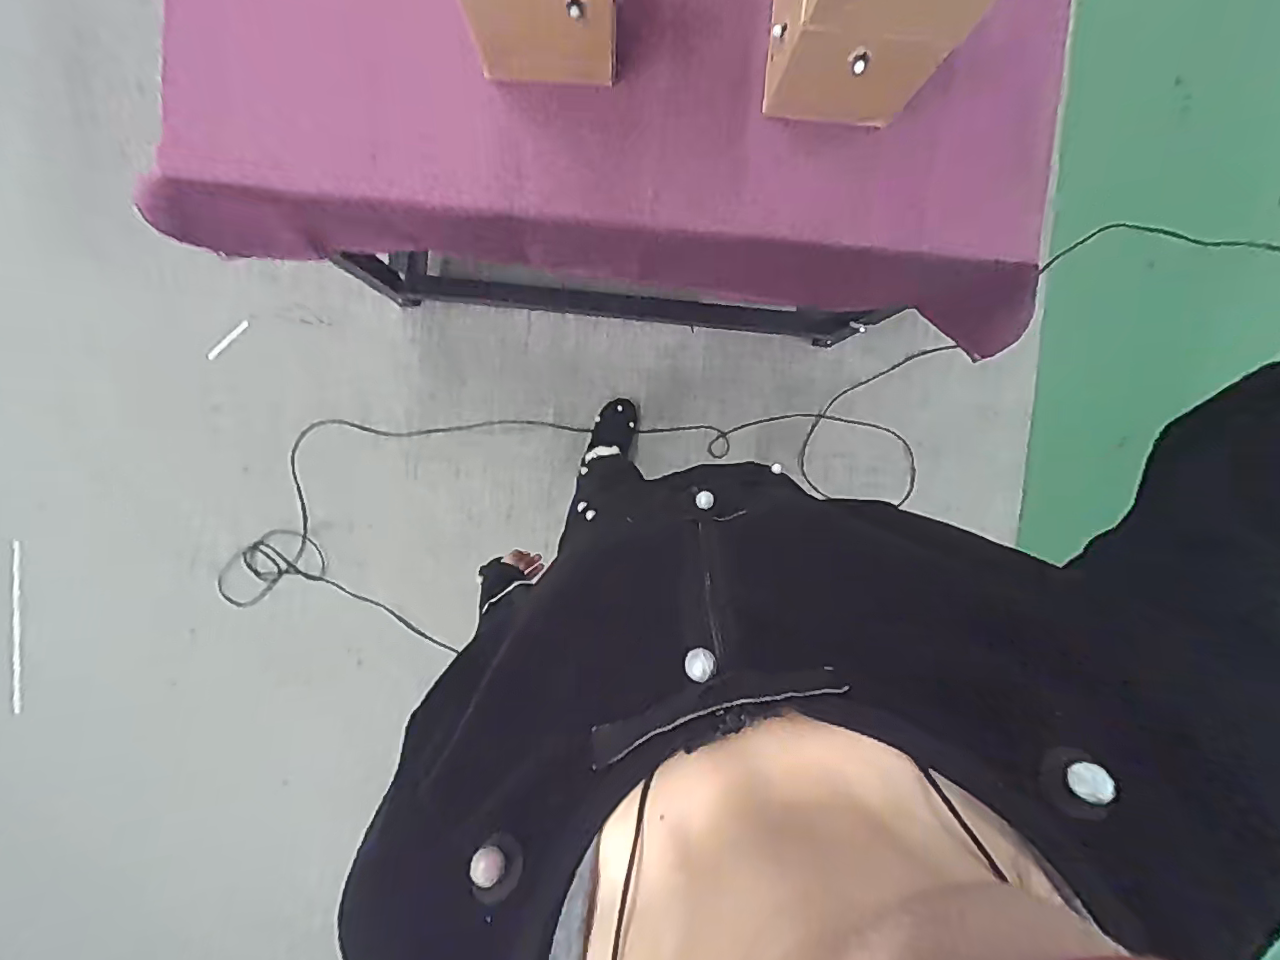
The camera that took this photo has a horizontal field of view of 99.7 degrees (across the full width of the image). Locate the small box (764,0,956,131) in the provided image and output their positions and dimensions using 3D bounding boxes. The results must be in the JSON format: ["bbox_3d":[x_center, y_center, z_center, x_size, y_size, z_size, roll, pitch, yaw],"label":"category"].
[{"bbox_3d":[0.262,-0.564,0.663,0.179,0.176,0.168,5,93,-3],"label":"small box"}]

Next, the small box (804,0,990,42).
[{"bbox_3d":[0.271,-0.553,0.500,0.179,0.176,0.168,6,94,-1],"label":"small box"}]

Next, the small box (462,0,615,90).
[{"bbox_3d":[-0.119,-0.609,0.650,0.179,0.176,0.168,1,93,-3],"label":"small box"}]
